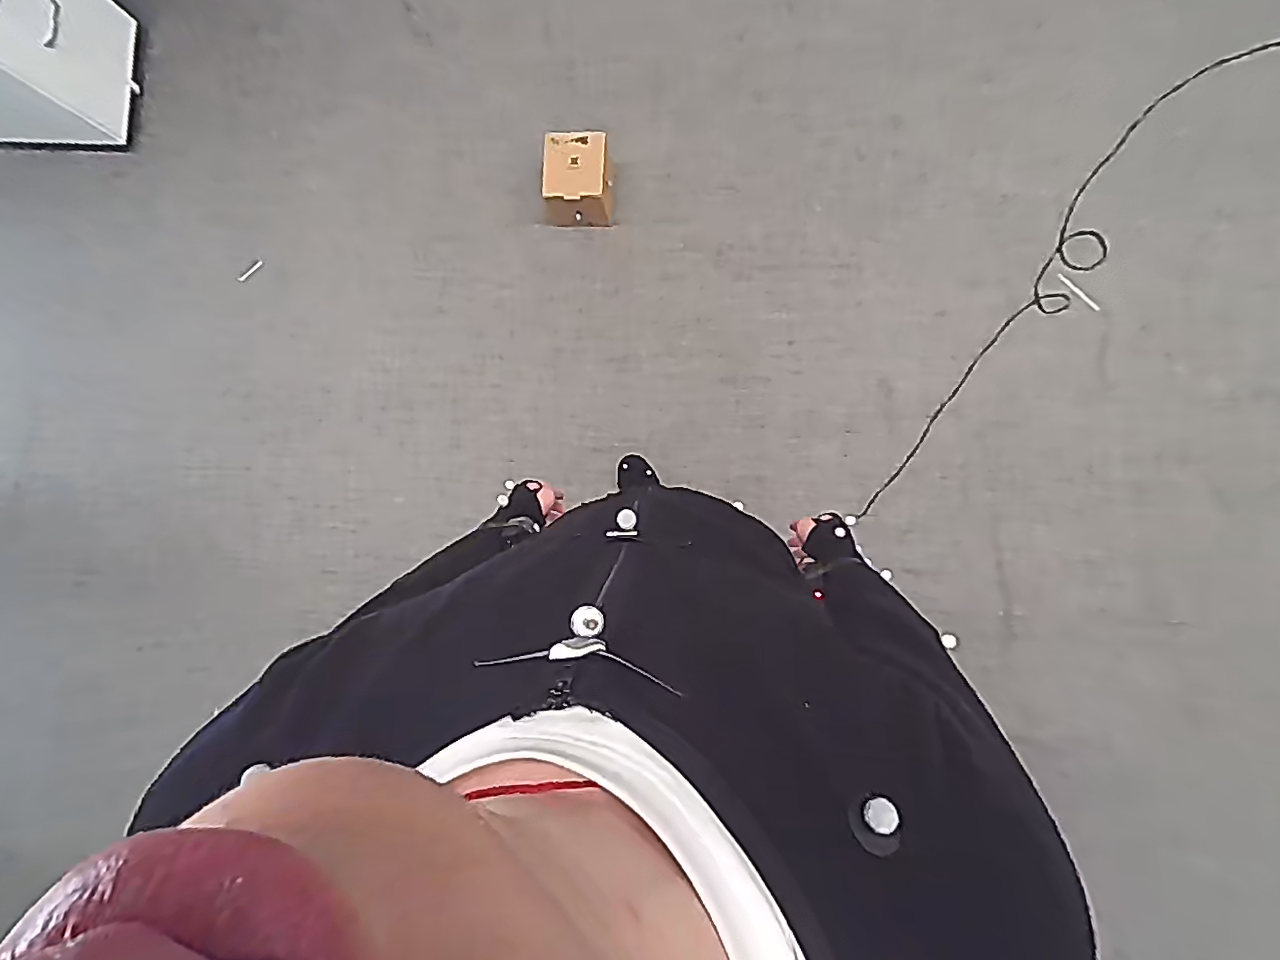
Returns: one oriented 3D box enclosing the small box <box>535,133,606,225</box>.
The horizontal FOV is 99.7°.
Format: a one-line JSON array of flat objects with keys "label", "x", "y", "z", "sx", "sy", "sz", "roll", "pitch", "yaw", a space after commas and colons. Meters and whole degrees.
[{"label": "small box", "x": -0.191, "y": -0.839, "z": 1.527, "sx": 0.168, "sy": 0.176, "sz": 0.179, "roll": 0, "pitch": 88, "yaw": 6}]
